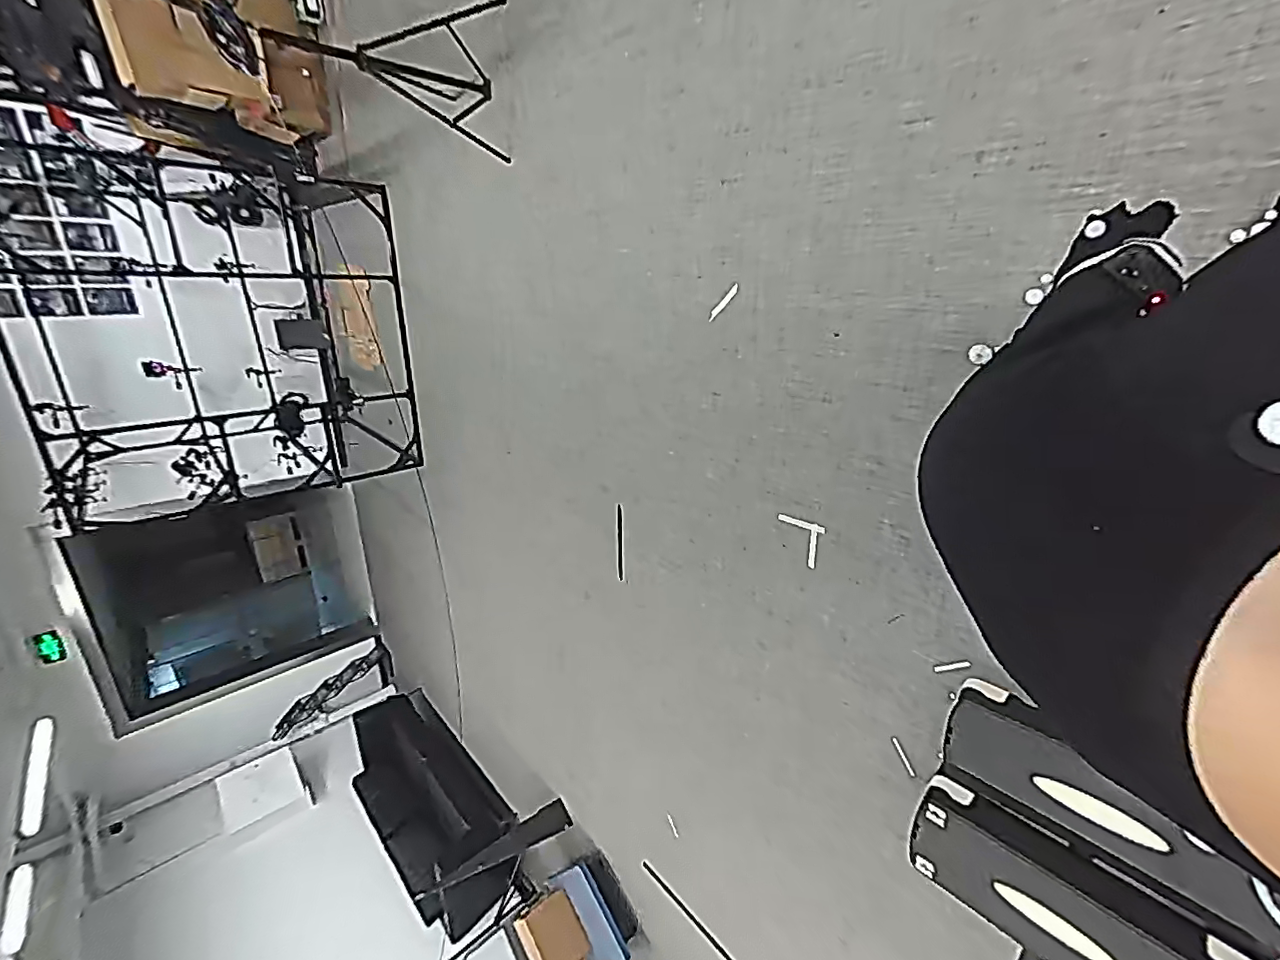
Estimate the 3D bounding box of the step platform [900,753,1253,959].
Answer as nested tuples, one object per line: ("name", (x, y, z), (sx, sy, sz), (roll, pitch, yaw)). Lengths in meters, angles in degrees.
("step platform", (1.041, 1.034, 1.380), (0.684, 0.204, 0.286), (20, 118, 45))
